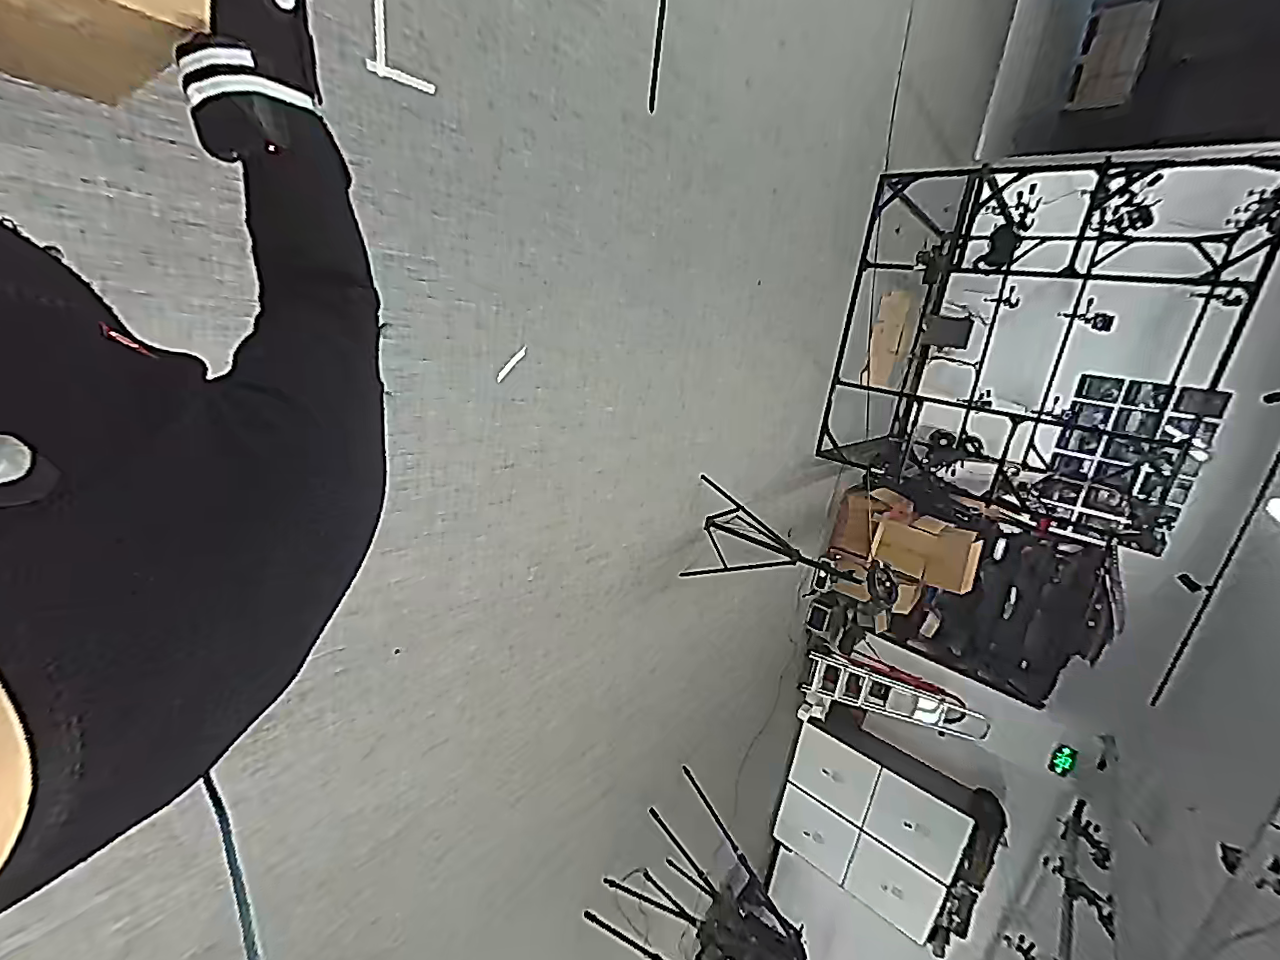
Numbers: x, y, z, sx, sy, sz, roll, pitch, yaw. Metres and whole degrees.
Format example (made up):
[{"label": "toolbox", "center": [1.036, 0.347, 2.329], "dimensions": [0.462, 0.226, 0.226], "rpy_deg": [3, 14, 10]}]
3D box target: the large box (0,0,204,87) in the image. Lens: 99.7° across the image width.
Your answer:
[{"label": "large box", "center": [-0.516, -0.473, 0.263], "dimensions": [0.408, 0.320, 0.320], "rpy_deg": [-10, 113, -51]}]
